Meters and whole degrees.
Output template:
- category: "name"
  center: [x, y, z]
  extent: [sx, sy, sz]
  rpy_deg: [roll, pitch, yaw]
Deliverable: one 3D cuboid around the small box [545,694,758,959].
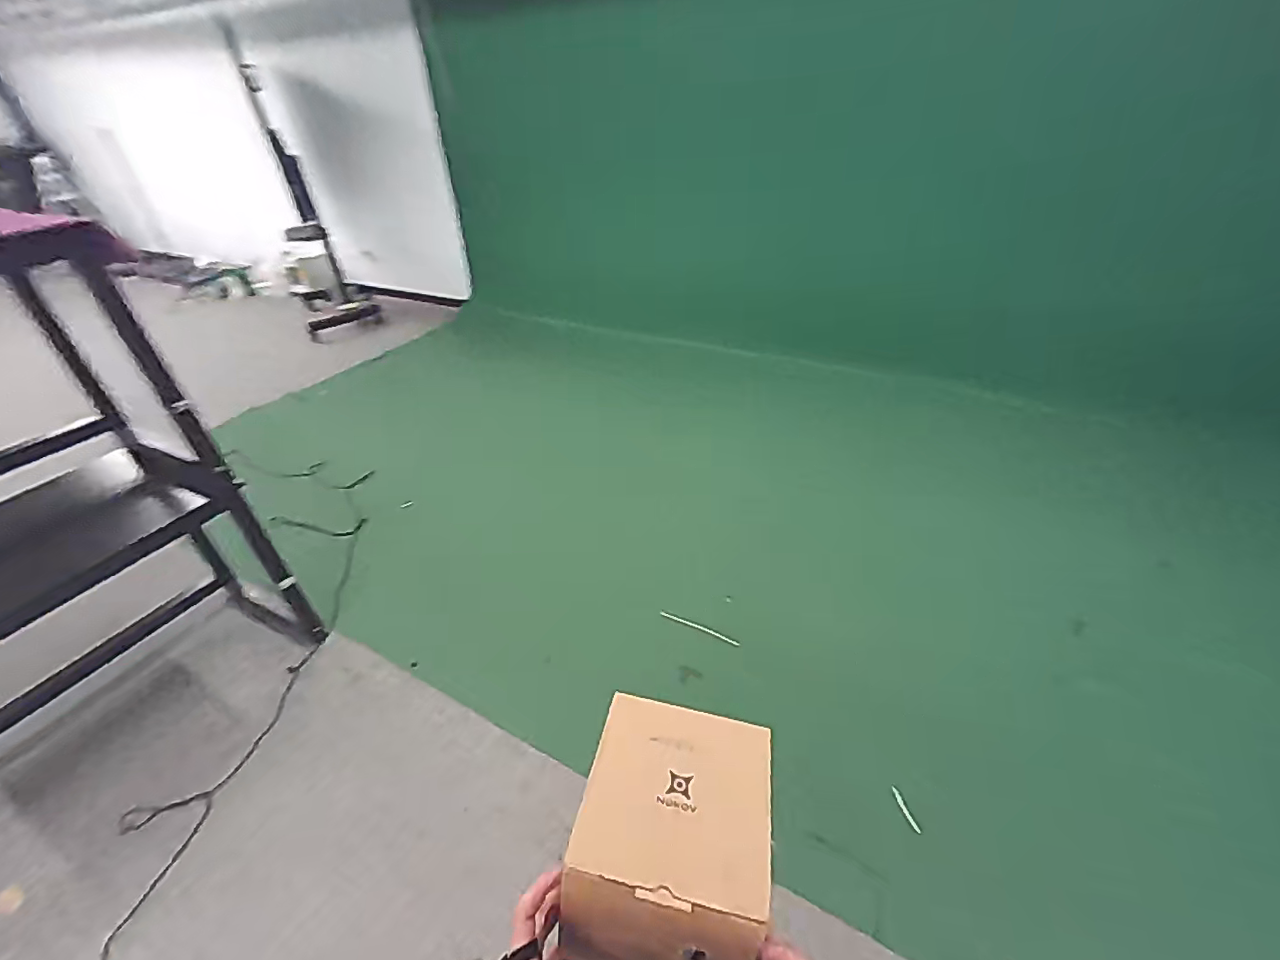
- category: "small box"
  center: [0.016, 0.350, 0.525]
  extent: [0.168, 0.176, 0.179]
  rpy_deg: [10, 29, 8]
